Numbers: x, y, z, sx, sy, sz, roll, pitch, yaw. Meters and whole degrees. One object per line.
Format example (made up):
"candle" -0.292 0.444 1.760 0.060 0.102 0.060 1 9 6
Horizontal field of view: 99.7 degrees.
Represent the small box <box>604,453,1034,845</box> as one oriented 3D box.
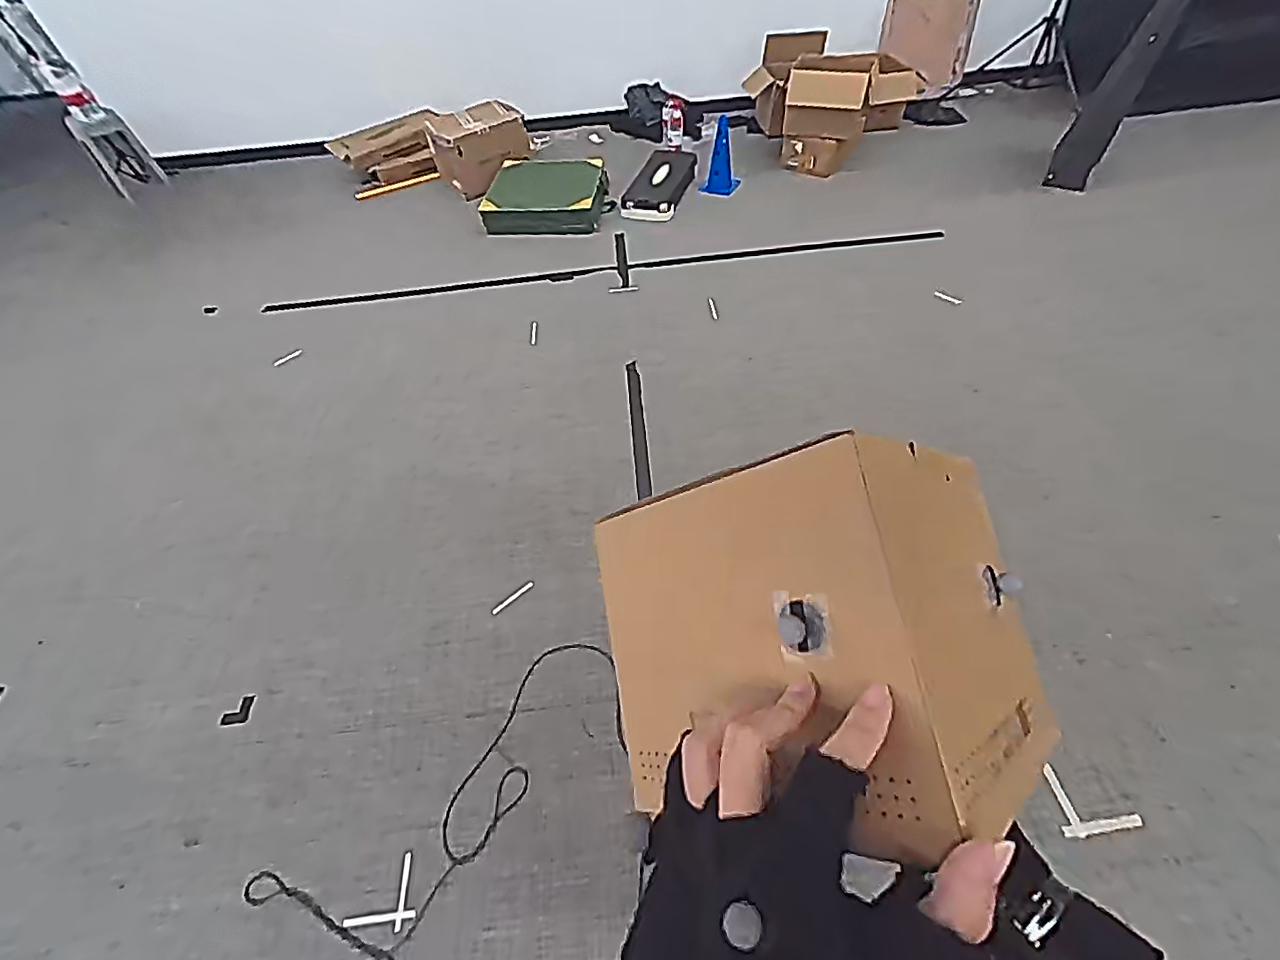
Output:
"small box" 0.104 0.092 0.332 0.168 0.179 0.176 3 72 -43
